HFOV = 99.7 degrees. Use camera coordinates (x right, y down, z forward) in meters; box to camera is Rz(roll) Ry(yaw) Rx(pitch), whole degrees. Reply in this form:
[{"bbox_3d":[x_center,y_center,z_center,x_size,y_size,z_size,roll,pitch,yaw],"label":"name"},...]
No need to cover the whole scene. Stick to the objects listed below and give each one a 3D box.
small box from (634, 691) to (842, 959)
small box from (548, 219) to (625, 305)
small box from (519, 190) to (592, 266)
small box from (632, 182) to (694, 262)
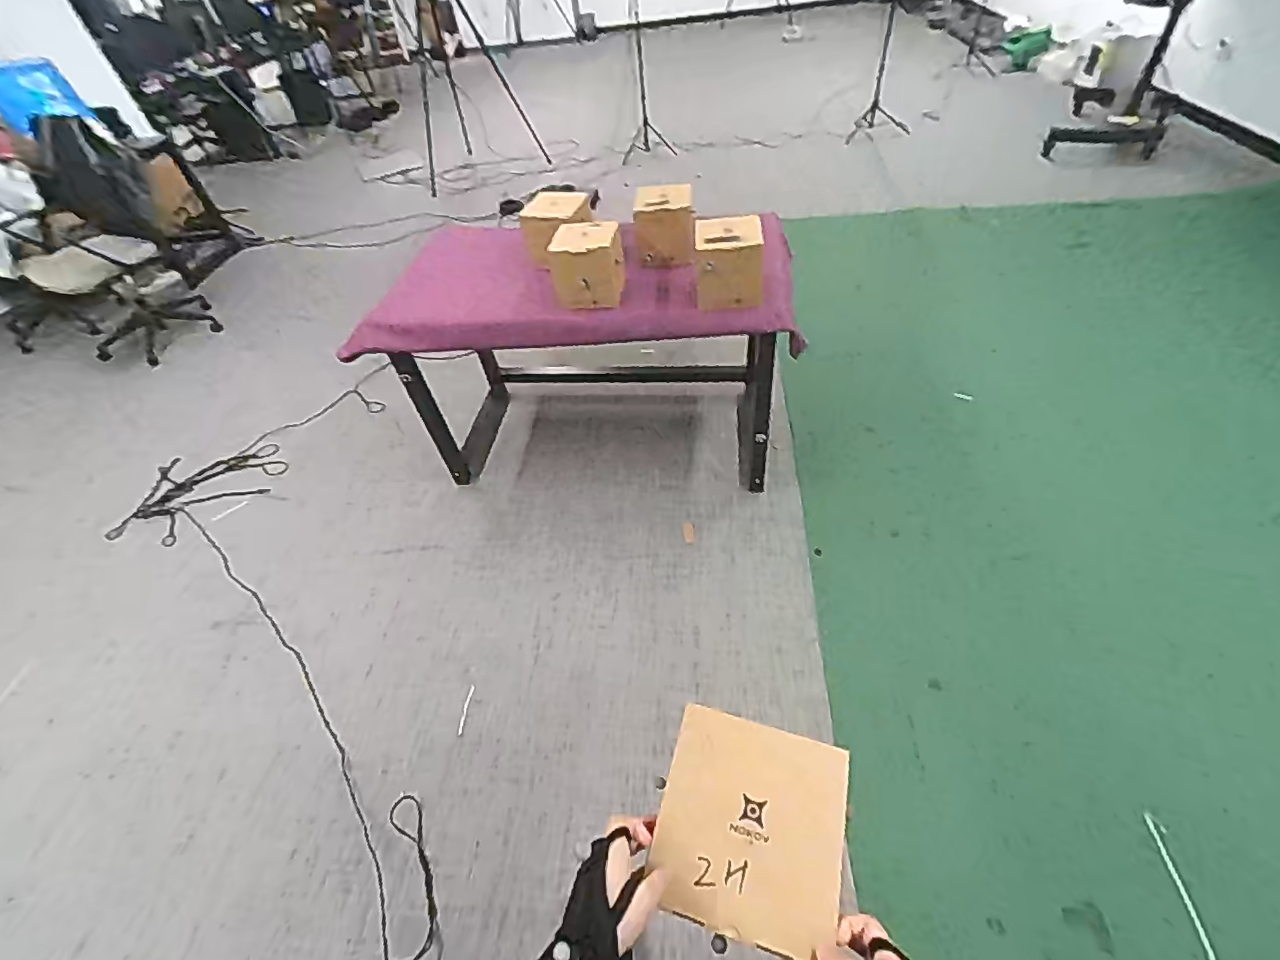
[{"bbox_3d":[0.100,0.351,0.560,0.168,0.176,0.179,11,54,14],"label":"small box"},{"bbox_3d":[-0.139,-0.596,1.492,0.168,0.176,0.179,1,47,8],"label":"small box"},{"bbox_3d":[-0.247,-0.773,1.670,0.168,0.176,0.179,9,50,14],"label":"small box"},{"bbox_3d":[0.075,-0.767,1.619,0.168,0.176,0.179,0,47,7],"label":"small box"}]
